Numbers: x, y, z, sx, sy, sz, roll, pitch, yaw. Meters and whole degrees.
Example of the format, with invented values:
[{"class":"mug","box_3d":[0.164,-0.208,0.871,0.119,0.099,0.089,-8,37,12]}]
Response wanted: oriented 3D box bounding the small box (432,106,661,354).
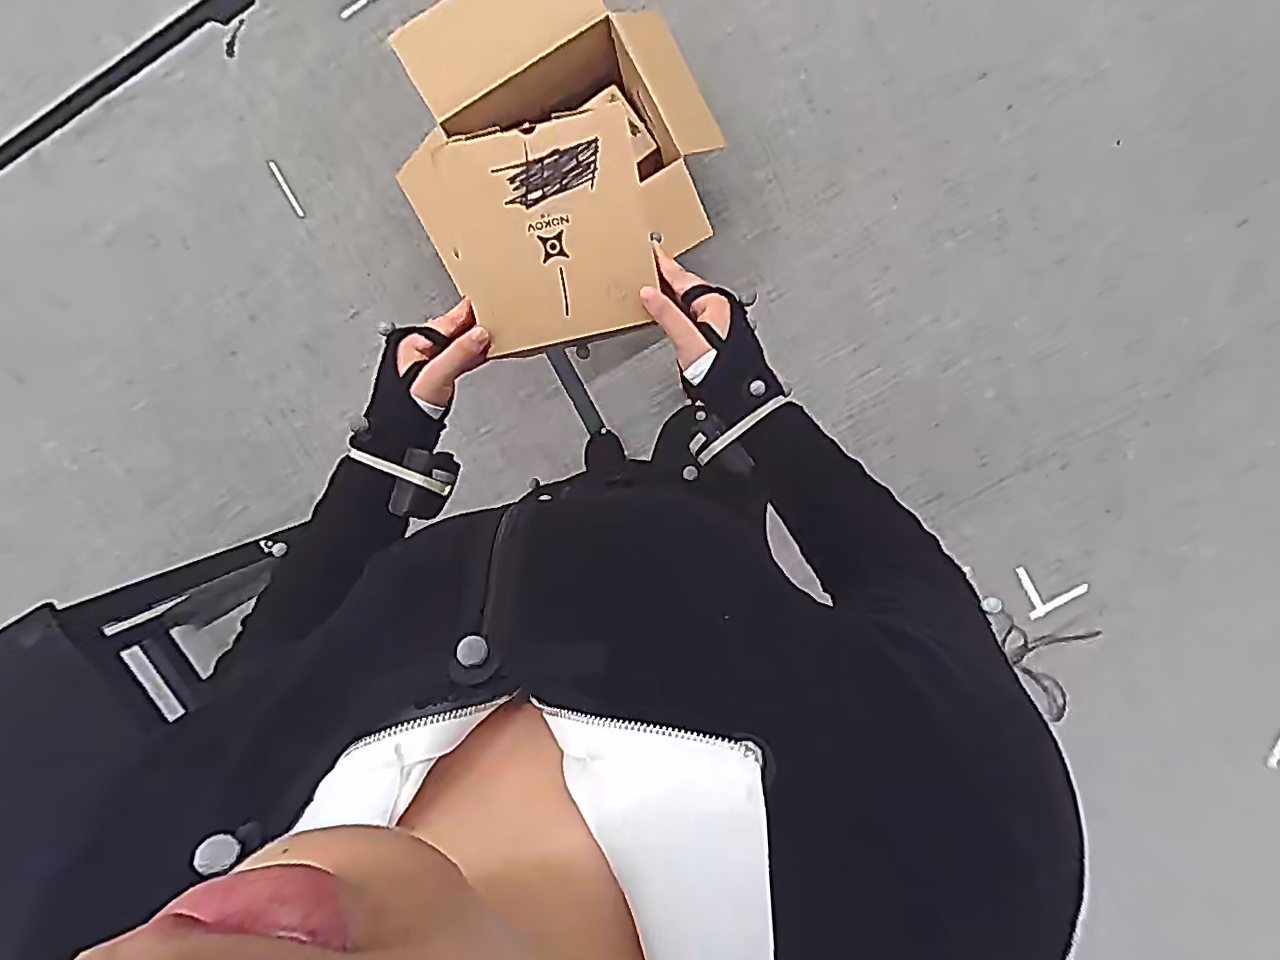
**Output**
[{"class":"small box","box_3d":[-0.080,-0.228,0.543,0.168,0.176,0.179,-12,104,2]}]
